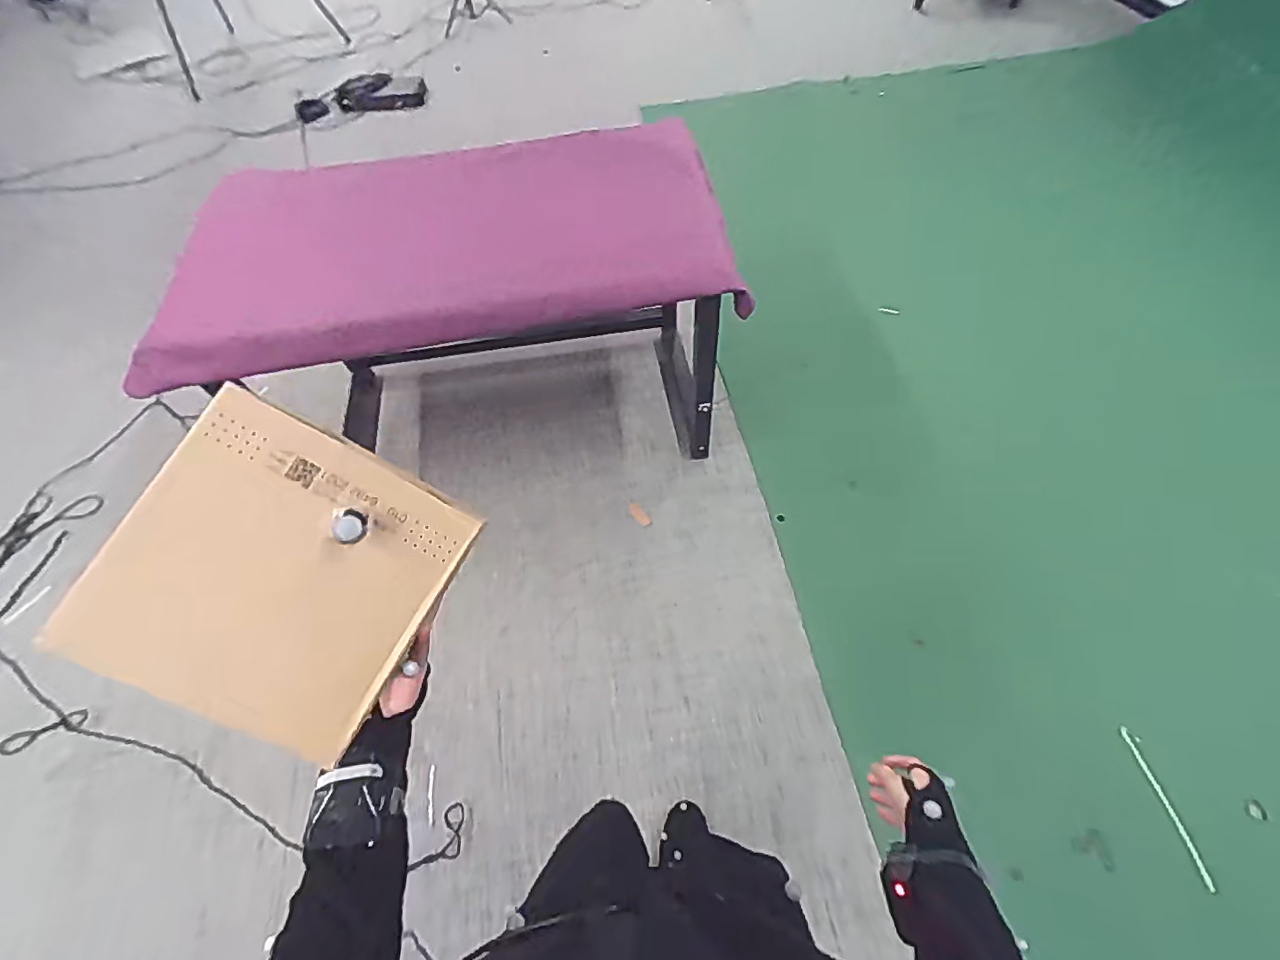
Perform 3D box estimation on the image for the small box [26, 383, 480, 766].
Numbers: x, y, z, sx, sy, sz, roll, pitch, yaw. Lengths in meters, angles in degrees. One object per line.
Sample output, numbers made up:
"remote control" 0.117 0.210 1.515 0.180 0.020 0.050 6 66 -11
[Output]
"small box" -0.228 0.056 0.385 0.168 0.179 0.176 32 79 -12
